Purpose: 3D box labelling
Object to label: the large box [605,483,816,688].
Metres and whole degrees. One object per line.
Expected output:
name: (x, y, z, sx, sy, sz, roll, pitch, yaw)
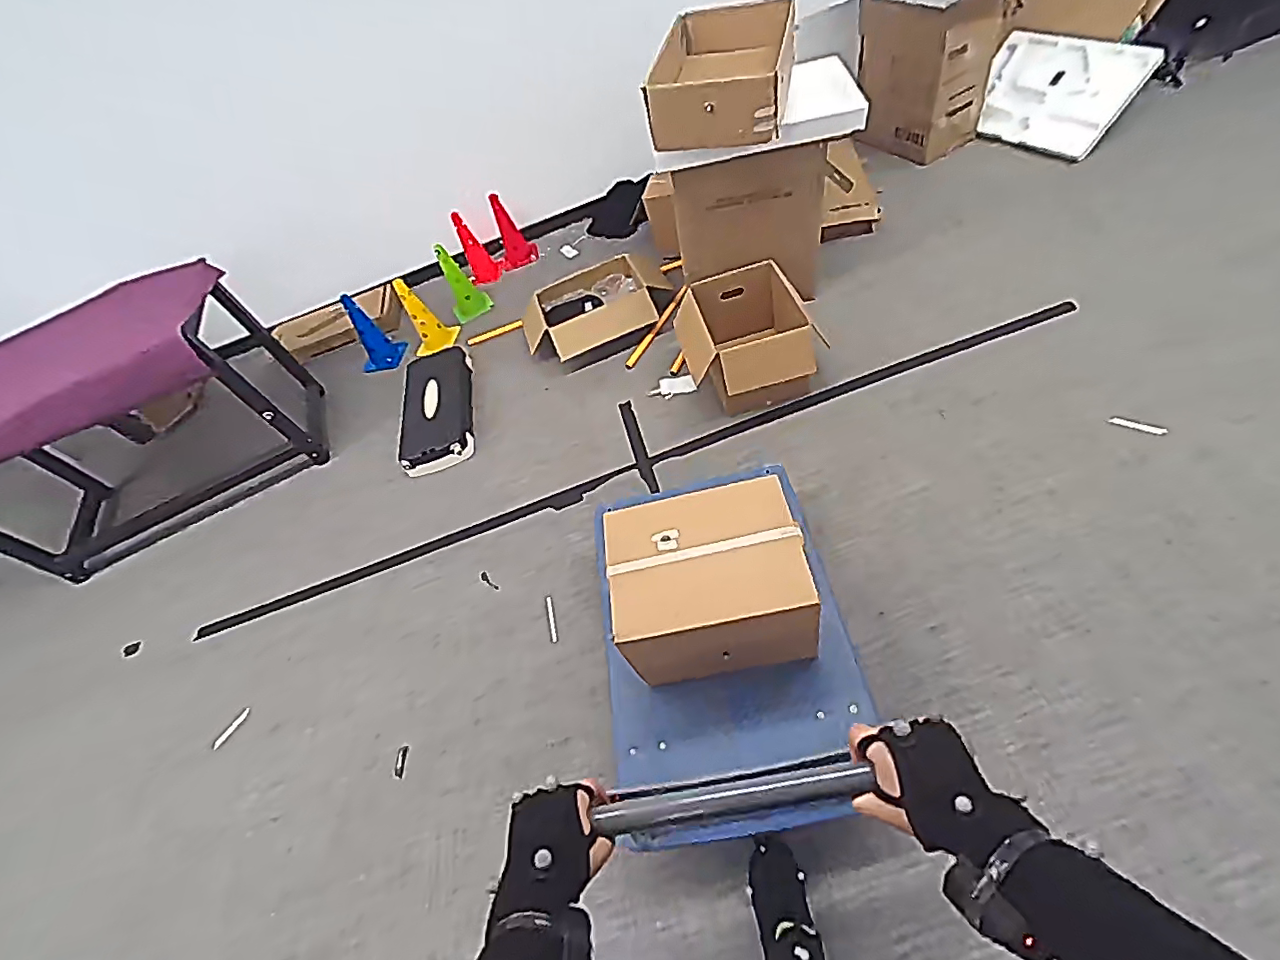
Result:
large box: (0.165, 0.257, 1.261, 0.408, 0.320, 0.320, -14, 51, 8)
